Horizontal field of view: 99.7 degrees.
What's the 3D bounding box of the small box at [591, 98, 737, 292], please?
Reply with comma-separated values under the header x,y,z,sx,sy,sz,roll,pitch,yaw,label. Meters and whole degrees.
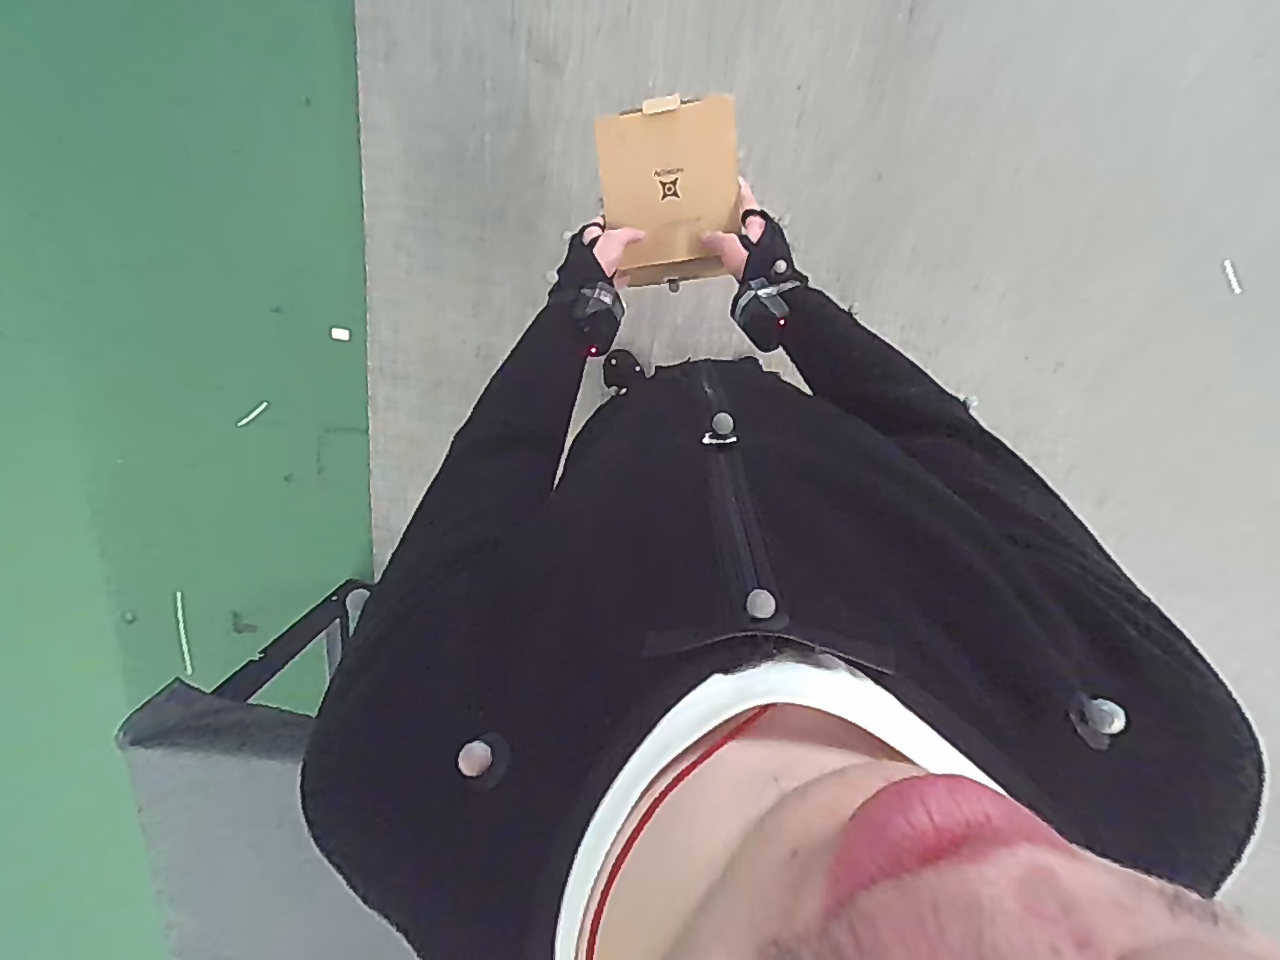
x,y,z,sx,sy,sz,roll,pitch,yaw,label
0.038,-0.357,0.712,0.168,0.176,0.179,-3,101,9,small box
